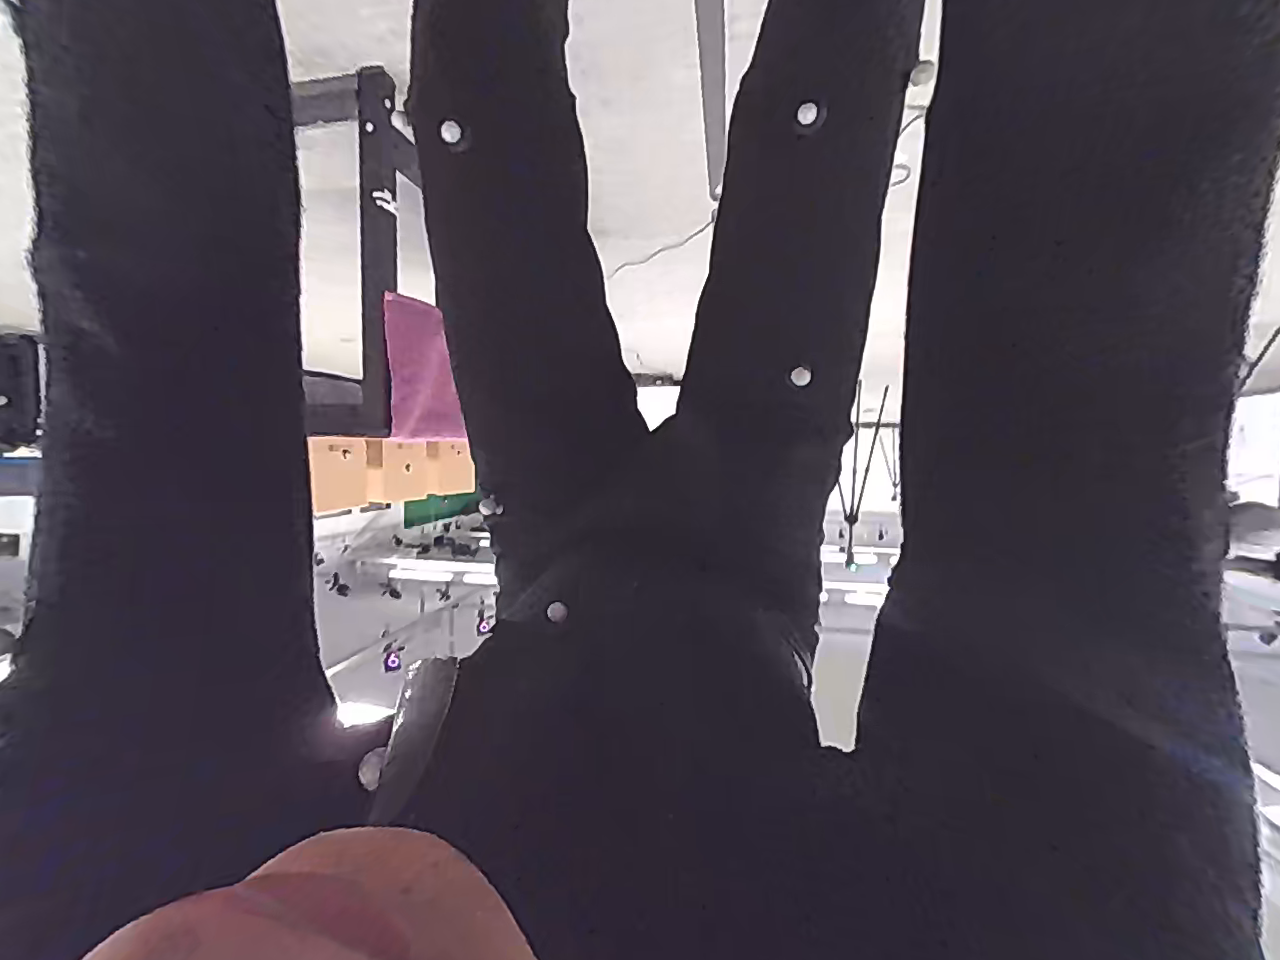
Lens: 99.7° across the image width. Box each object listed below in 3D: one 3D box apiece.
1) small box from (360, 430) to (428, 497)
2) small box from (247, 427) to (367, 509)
[{"bbox_3d":[-0.698,-0.047,1.455,0.179,0.176,0.168,2,-176,16],"label":"small box"},{"bbox_3d":[-0.746,-0.032,1.221,0.179,0.176,0.168,2,-174,15],"label":"small box"}]
